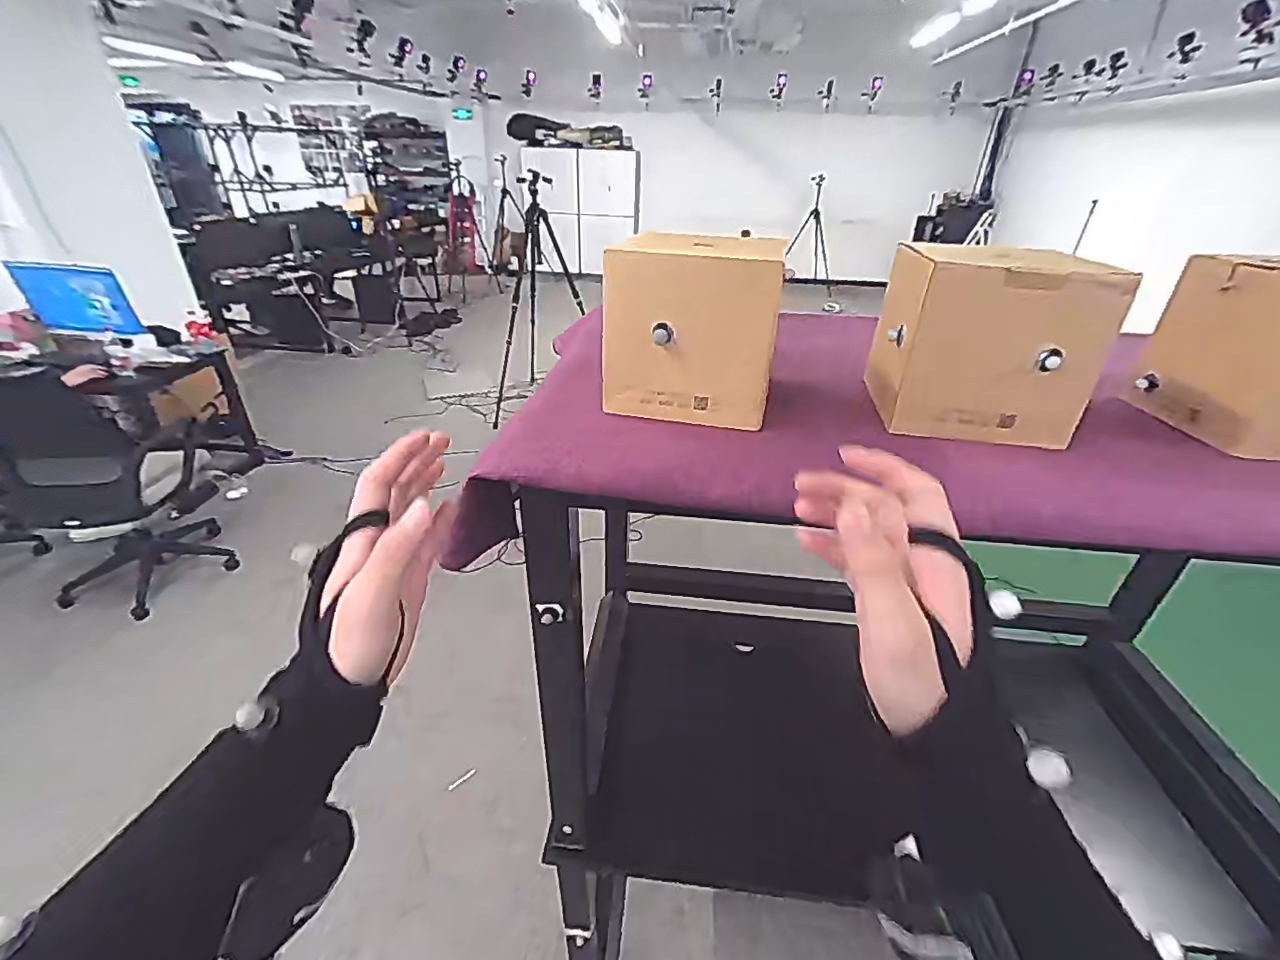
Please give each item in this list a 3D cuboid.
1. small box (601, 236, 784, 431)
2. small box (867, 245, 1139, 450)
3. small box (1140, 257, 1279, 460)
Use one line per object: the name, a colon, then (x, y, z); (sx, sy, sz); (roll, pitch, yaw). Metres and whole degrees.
small box: (0.062, -0.165, 0.591); (0.168, 0.176, 0.179); (8, 30, 11)
small box: (0.351, -0.145, 0.569); (0.168, 0.176, 0.179); (8, 30, 10)
small box: (0.662, -0.121, 0.540); (0.179, 0.176, 0.168); (5, 29, 4)
